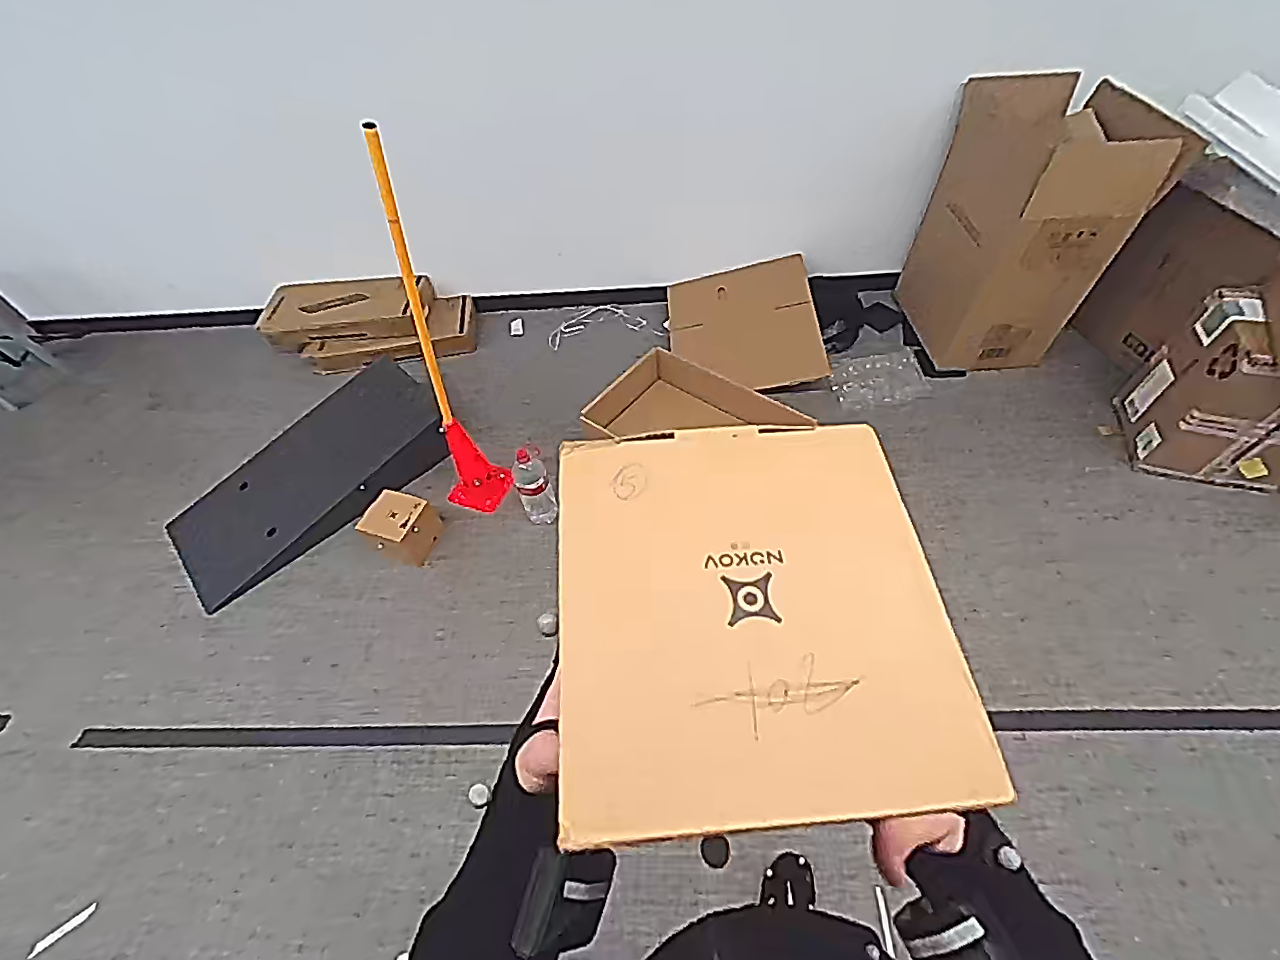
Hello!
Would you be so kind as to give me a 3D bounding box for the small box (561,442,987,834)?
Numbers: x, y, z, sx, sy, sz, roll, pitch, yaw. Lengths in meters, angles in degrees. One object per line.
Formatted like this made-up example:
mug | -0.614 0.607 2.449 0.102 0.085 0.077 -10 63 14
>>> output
small box | 0.046 0.098 0.315 0.168 0.176 0.179 -3 58 -2
